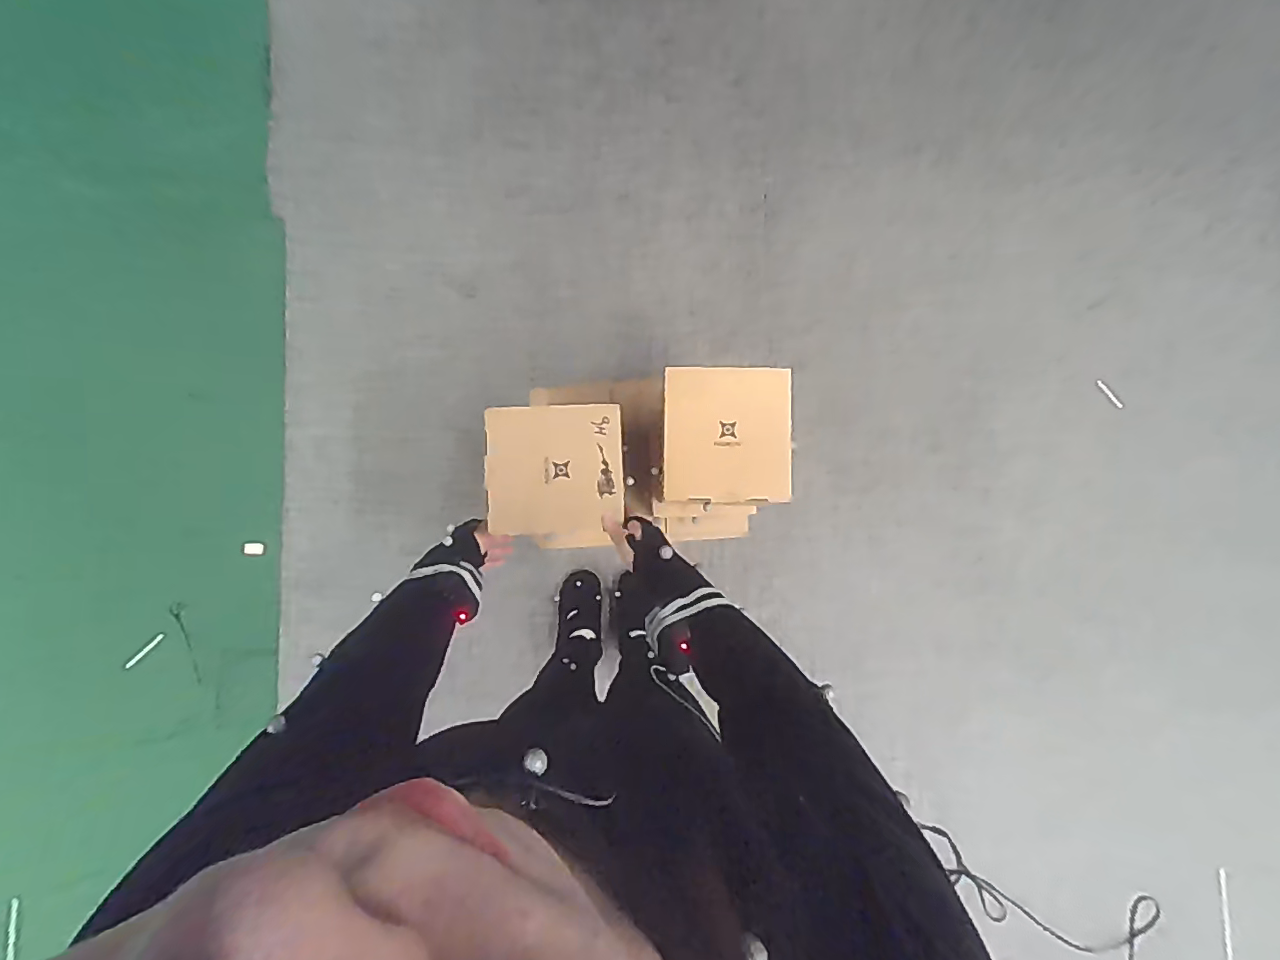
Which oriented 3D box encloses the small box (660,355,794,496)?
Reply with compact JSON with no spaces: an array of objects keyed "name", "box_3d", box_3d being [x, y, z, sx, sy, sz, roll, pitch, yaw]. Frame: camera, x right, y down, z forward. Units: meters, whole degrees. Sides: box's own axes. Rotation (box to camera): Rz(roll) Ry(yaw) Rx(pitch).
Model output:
[{"name":"small box","box_3d":[0.116,-0.069,0.780,0.168,0.176,0.179,1,87,-1]}]
